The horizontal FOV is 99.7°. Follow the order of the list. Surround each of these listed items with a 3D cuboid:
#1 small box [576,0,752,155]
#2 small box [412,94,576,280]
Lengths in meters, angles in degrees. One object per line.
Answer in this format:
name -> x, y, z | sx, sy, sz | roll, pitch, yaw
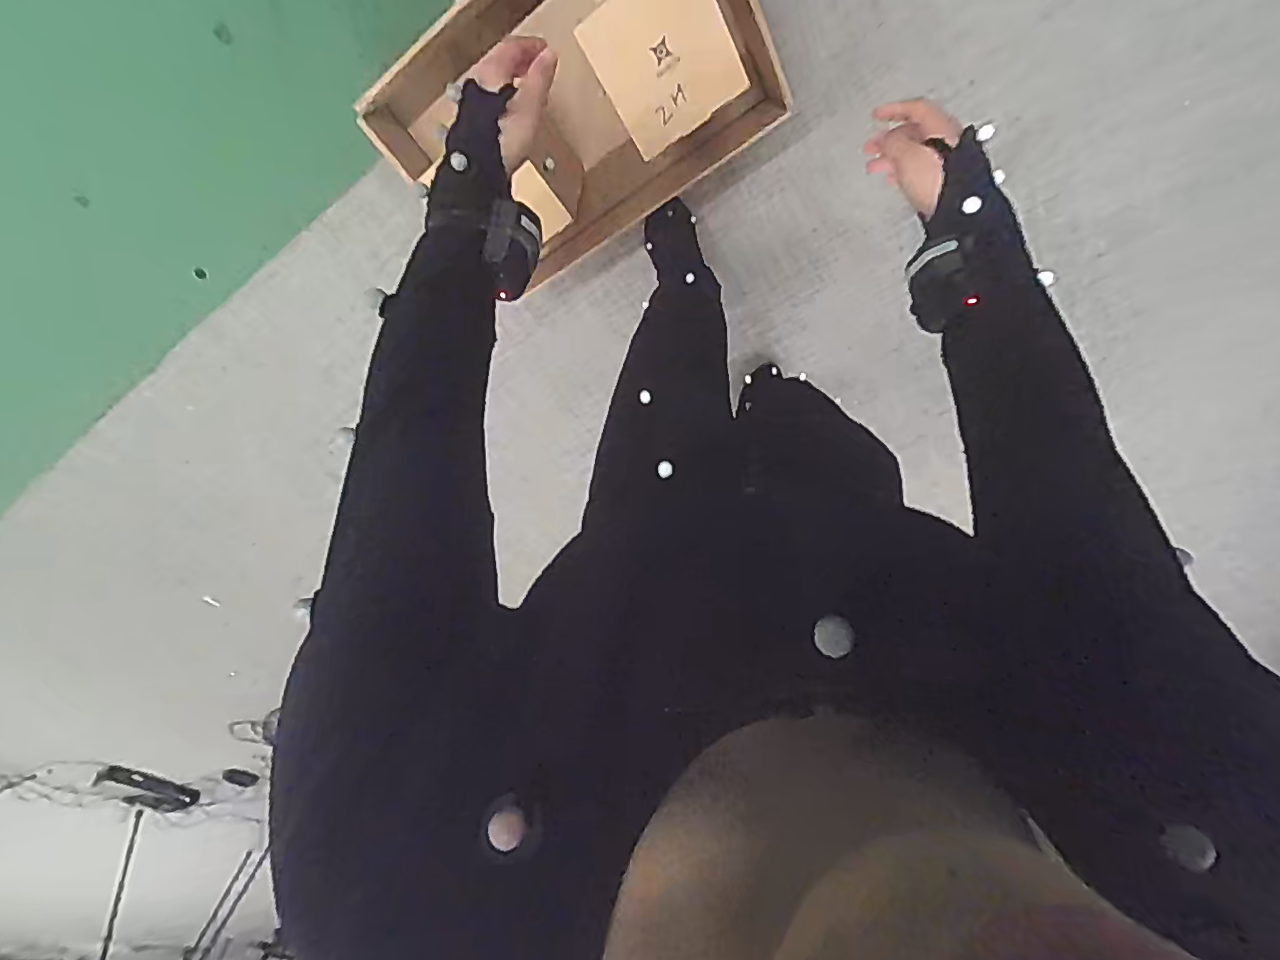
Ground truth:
small box -> 0.030, -0.590, 0.737 | 0.168, 0.176, 0.179 | -26, 129, 21
small box -> -0.213, -0.458, 0.845 | 0.168, 0.176, 0.179 | -29, 128, 22
